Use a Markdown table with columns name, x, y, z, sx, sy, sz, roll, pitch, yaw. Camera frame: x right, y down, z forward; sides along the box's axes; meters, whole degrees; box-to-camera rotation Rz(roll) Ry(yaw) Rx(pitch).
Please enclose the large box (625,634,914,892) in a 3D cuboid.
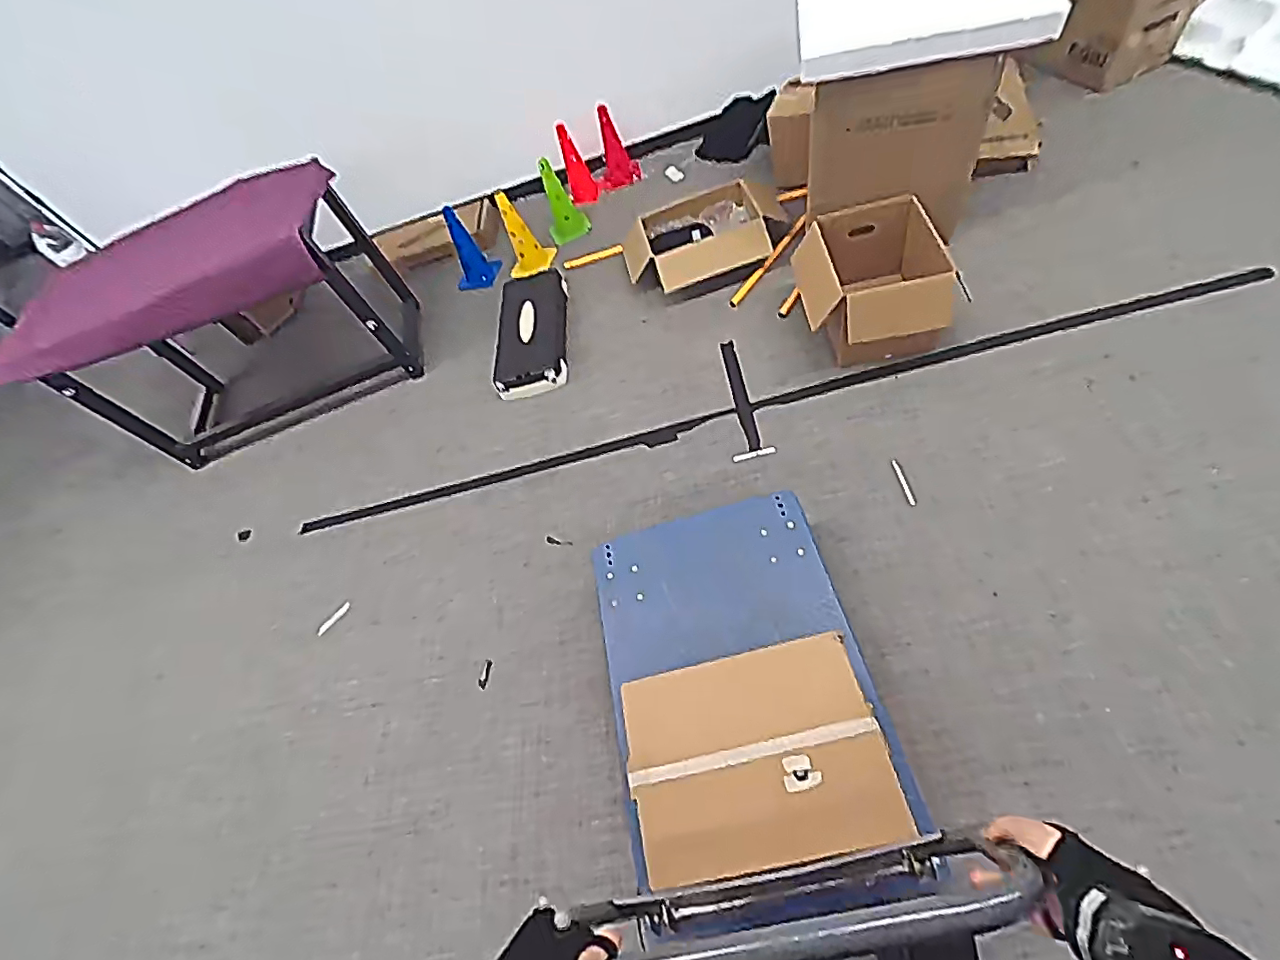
| name | x | y | z | sx | sy | sz | roll | pitch | yaw |
| --- | --- | --- | --- | --- | --- | --- | --- | --- | --- |
| large box | 0.220 | 0.530 | 1.008 | 0.408 | 0.320 | 0.320 | -16 | 55 | 6 |
